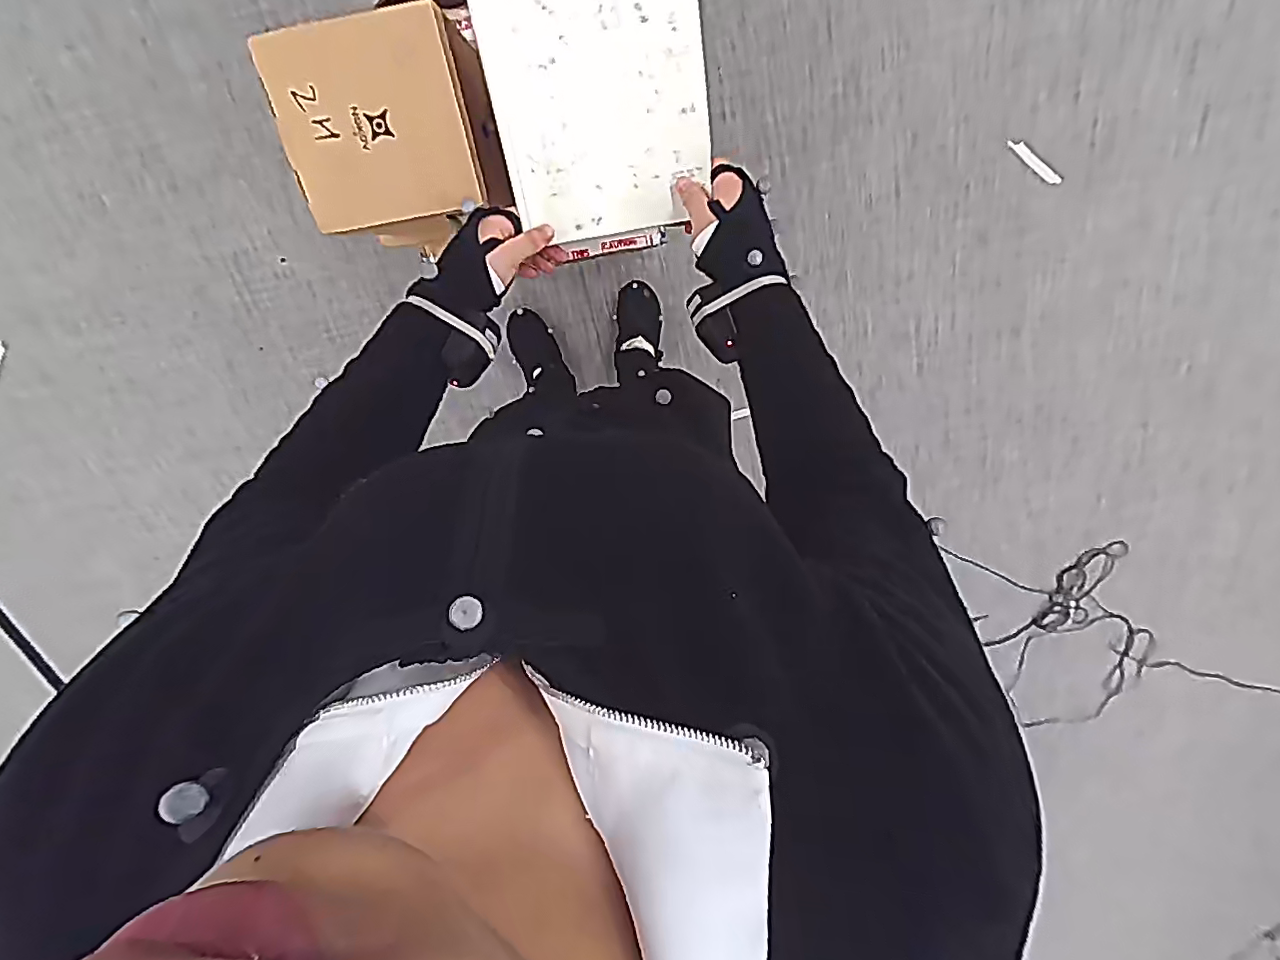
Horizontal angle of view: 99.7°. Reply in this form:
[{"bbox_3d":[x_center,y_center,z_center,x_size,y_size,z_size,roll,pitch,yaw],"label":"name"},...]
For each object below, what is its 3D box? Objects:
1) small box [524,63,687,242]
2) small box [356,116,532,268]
[{"bbox_3d":[-0.044,-0.439,0.750,0.179,0.176,0.168,-13,114,3],"label":"small box"},{"bbox_3d":[-0.256,-0.398,0.762,0.179,0.176,0.168,-4,115,2],"label":"small box"}]
